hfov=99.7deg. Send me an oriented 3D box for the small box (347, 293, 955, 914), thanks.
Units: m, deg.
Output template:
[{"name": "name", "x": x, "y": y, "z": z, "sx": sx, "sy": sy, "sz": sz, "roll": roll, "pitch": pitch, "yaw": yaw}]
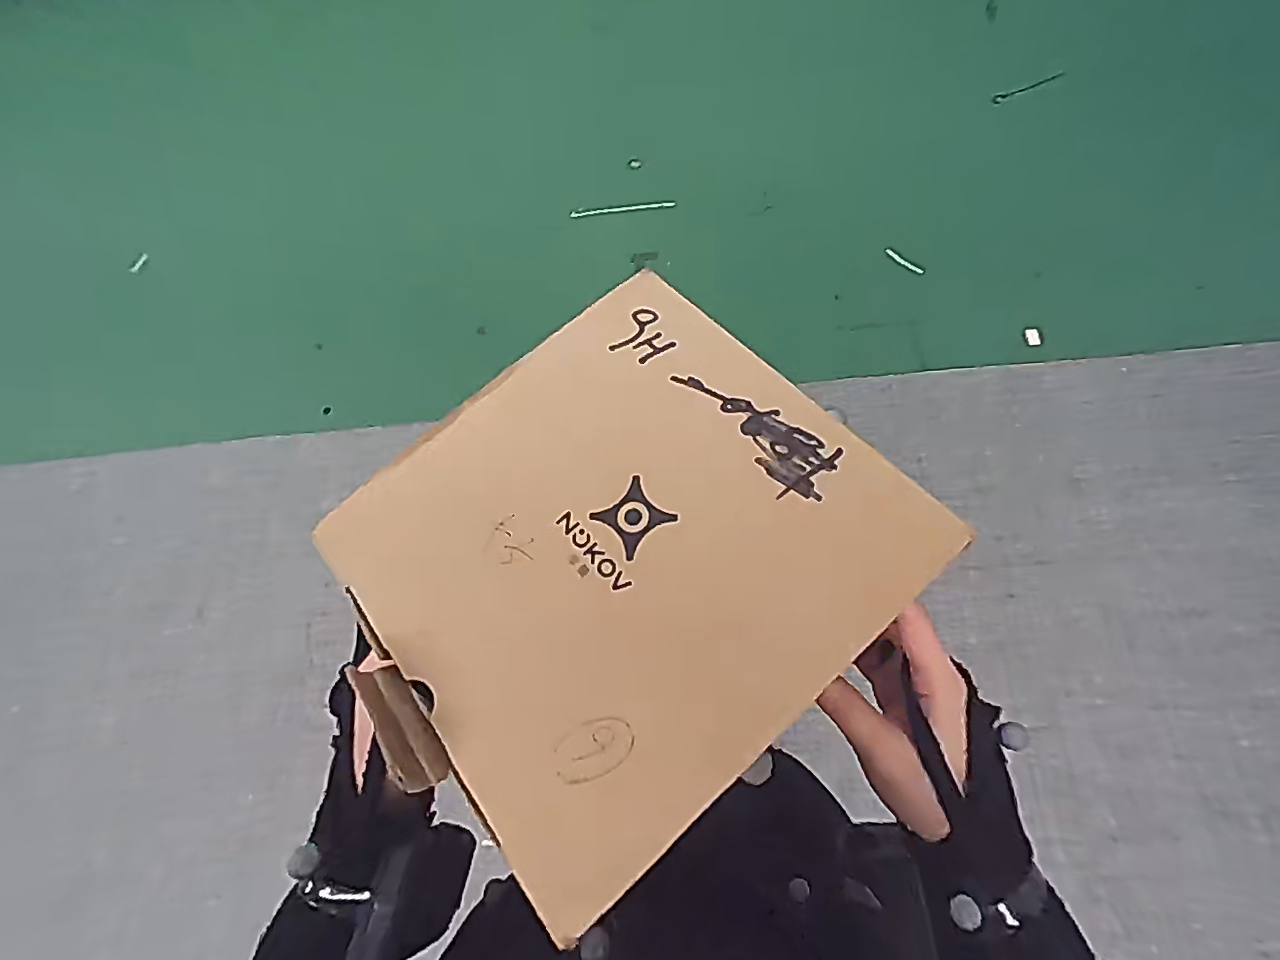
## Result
[{"name": "small box", "x": 0.006, "y": 0.053, "z": 0.275, "sx": 0.179, "sy": 0.176, "sz": 0.168, "roll": -40, "pitch": 68, "yaw": -9}]
